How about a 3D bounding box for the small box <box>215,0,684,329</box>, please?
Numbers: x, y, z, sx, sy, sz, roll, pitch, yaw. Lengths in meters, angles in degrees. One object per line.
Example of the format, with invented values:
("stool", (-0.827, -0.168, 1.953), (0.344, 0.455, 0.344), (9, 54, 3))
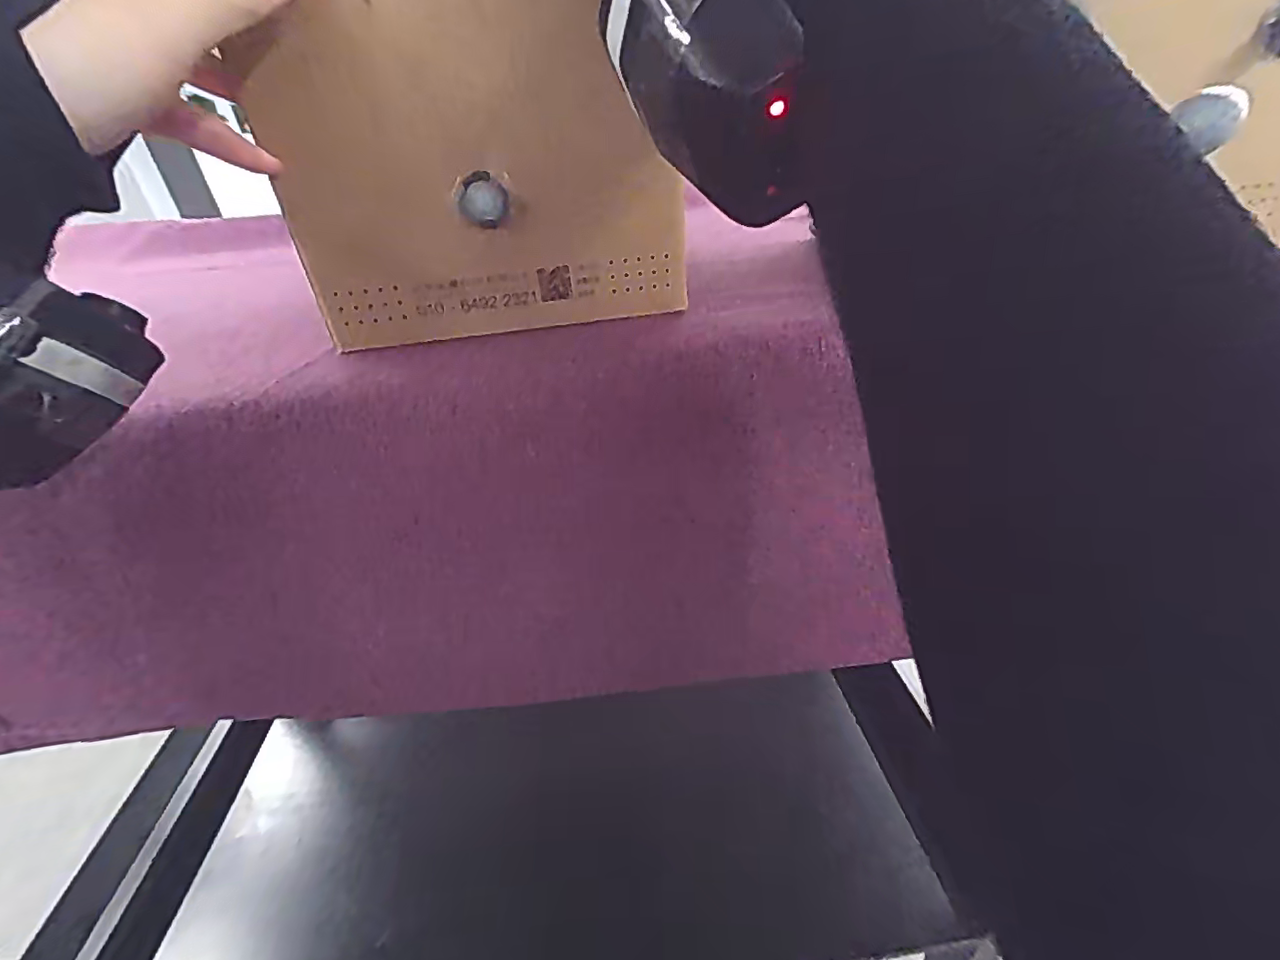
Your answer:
("small box", (-0.075, -0.184, 0.270), (0.168, 0.176, 0.179), (-8, 32, -4))
